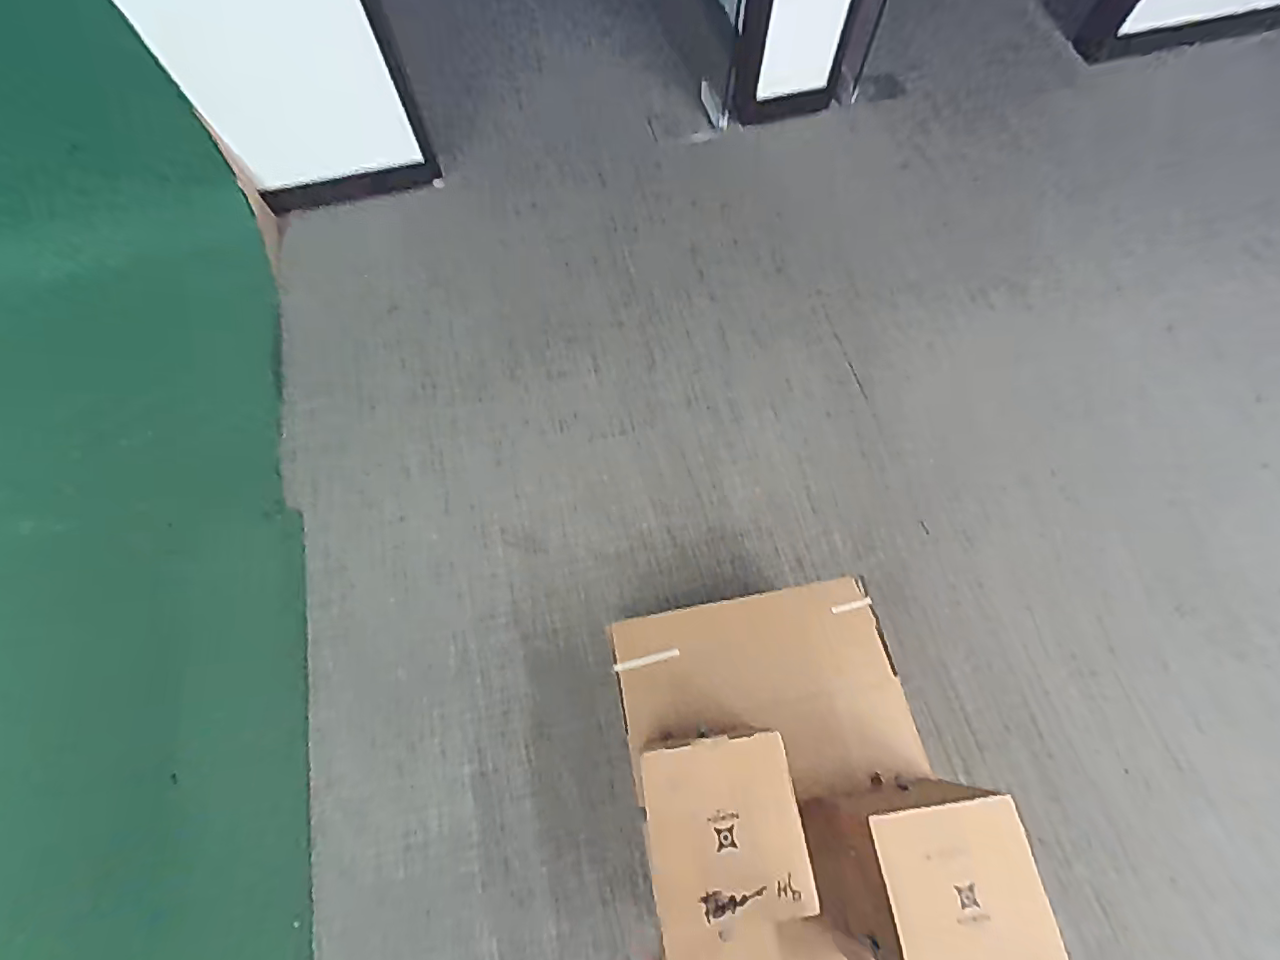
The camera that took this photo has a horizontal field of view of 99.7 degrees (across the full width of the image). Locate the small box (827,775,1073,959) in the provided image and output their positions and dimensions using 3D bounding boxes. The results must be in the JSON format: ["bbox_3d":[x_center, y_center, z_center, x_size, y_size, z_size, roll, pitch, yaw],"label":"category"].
[{"bbox_3d":[0.339,0.458,0.626,0.168,0.176,0.179,-7,66,-4],"label":"small box"}]

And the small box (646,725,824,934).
[{"bbox_3d":[0.098,0.403,0.654,0.168,0.176,0.179,-8,66,-1],"label":"small box"}]
